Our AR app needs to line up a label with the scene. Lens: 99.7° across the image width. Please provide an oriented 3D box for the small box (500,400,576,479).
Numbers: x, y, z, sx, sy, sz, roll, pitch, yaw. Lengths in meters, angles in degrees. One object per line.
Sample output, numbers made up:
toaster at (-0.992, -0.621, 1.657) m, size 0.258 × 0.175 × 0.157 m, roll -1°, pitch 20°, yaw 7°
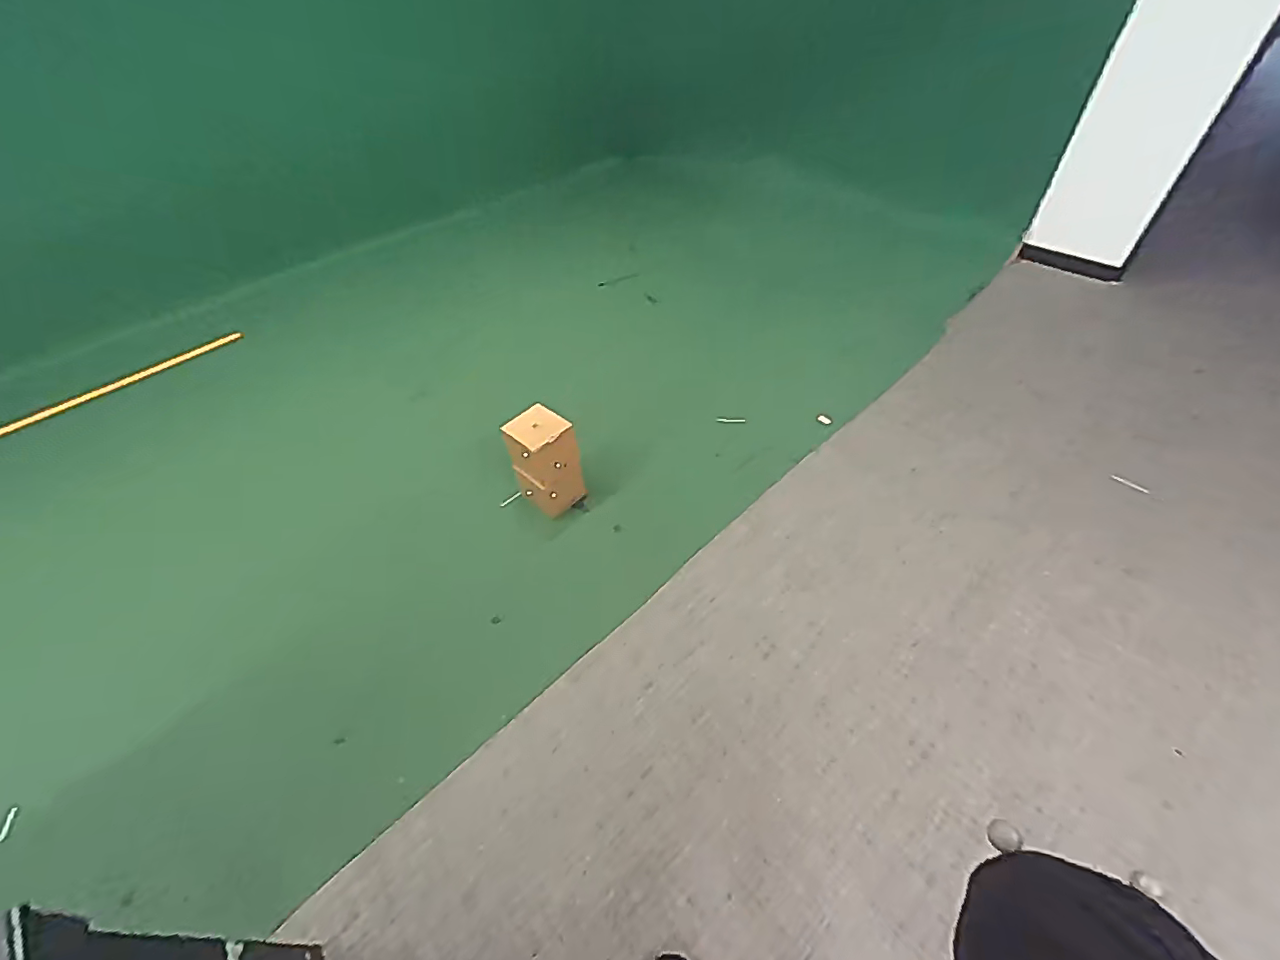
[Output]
small box at (-0.335, -0.132, 1.807) m, size 0.179 × 0.176 × 0.168 m, roll 33°, pitch 57°, yaw 28°
